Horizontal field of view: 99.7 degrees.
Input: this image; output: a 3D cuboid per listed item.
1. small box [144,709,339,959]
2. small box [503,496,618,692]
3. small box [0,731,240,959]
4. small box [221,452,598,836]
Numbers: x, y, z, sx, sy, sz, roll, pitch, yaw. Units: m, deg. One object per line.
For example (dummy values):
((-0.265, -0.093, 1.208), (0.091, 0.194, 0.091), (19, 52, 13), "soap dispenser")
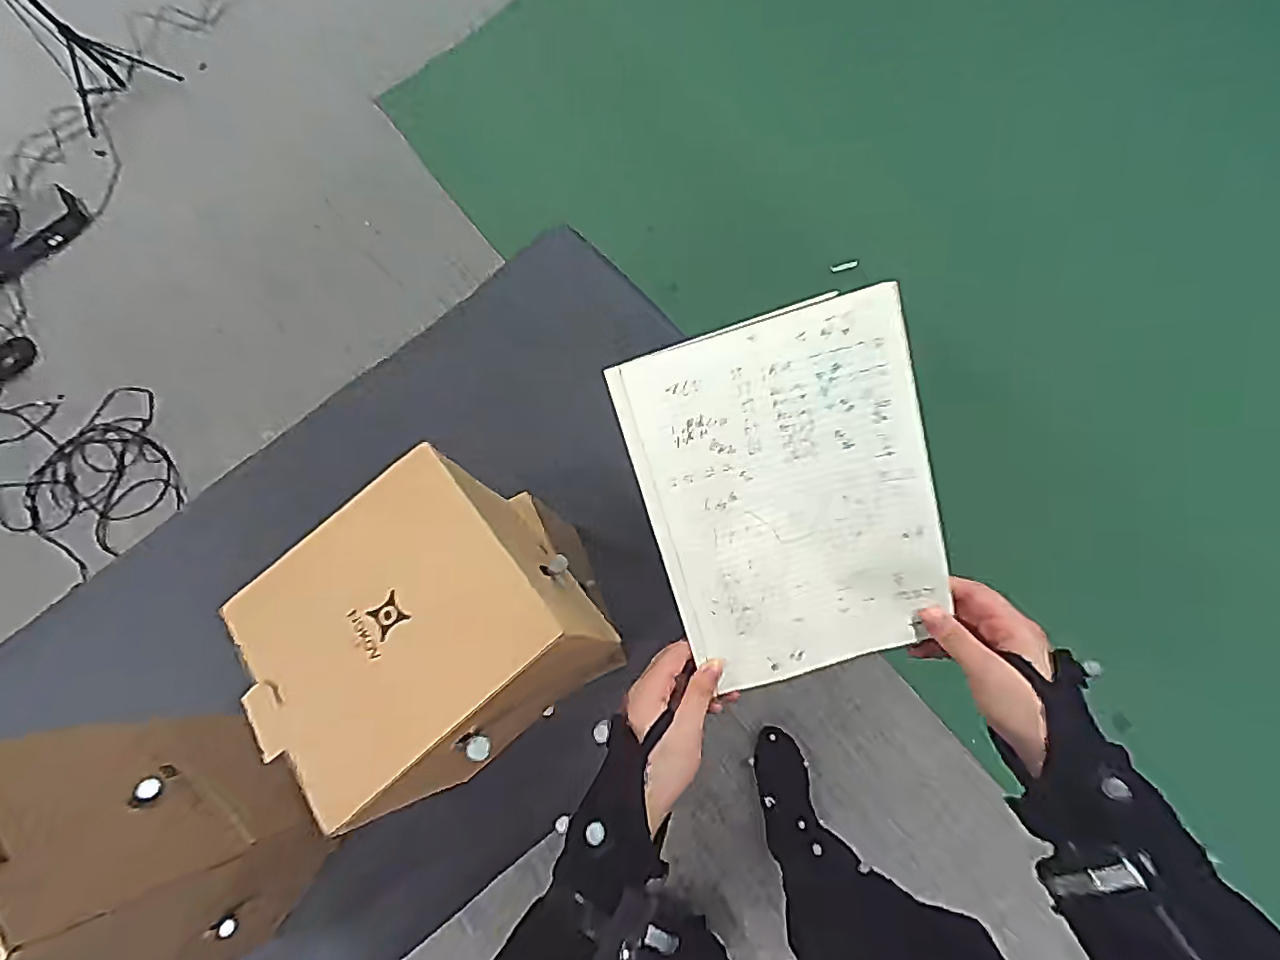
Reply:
((-0.438, 0.366, 0.558), (0.168, 0.176, 0.179), (32, 81, 16), "small box")
((-0.139, 0.145, 0.573), (0.168, 0.176, 0.179), (-25, 71, 2), "small box")
((-0.462, 0.321, 0.402), (0.168, 0.176, 0.179), (34, 81, 17), "small box")
((-0.149, 0.113, 0.413), (0.179, 0.176, 0.168), (-41, 71, -3), "small box")
